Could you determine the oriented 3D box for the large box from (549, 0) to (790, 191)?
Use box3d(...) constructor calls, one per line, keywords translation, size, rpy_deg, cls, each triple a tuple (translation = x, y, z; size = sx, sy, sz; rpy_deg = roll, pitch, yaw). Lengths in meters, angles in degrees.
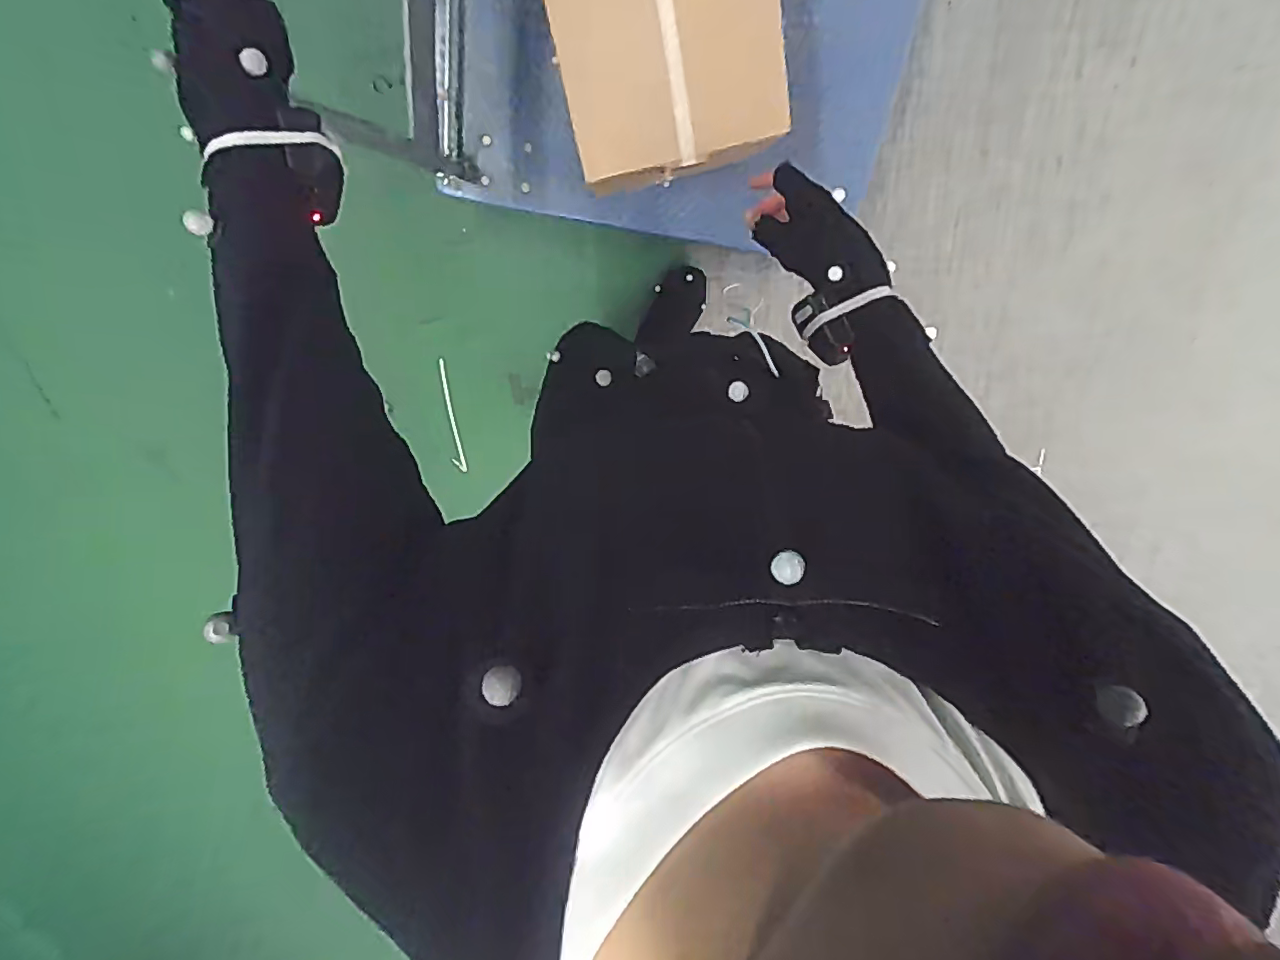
box3d(translation=(0.032, -0.730, 0.868), size=(0.320, 0.320, 0.408), rpy_deg=(-11, 113, 5), cls="large box")
